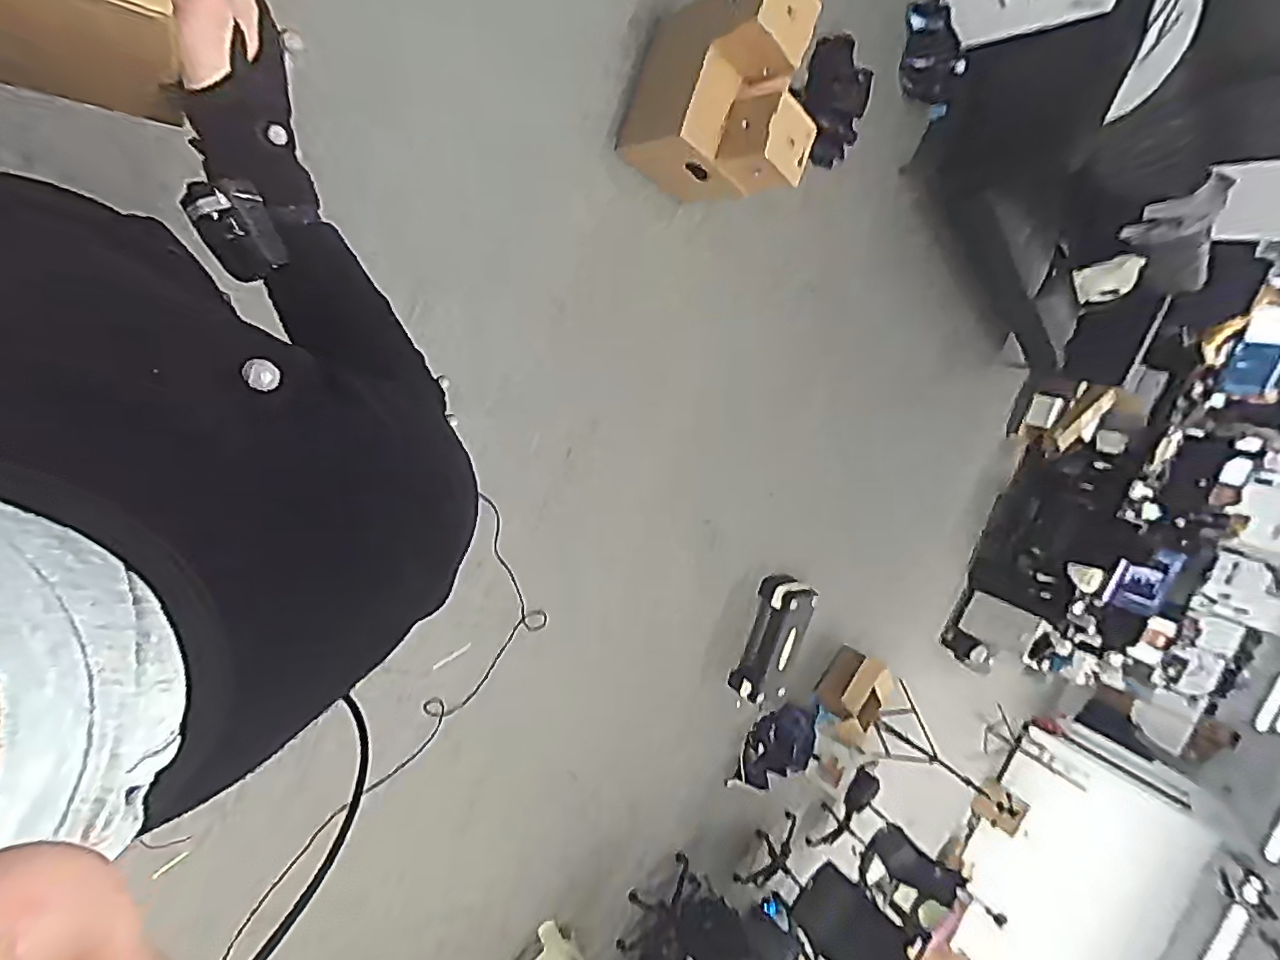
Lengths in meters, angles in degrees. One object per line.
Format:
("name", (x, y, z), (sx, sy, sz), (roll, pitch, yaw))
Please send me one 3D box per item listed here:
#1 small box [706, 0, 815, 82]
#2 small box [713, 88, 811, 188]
("small box", (0.301, -1.154, 1.369), (0.179, 0.176, 0.168), (16, 96, -38))
("small box", (0.331, -0.924, 1.485), (0.179, 0.176, 0.168), (11, 101, -43))
